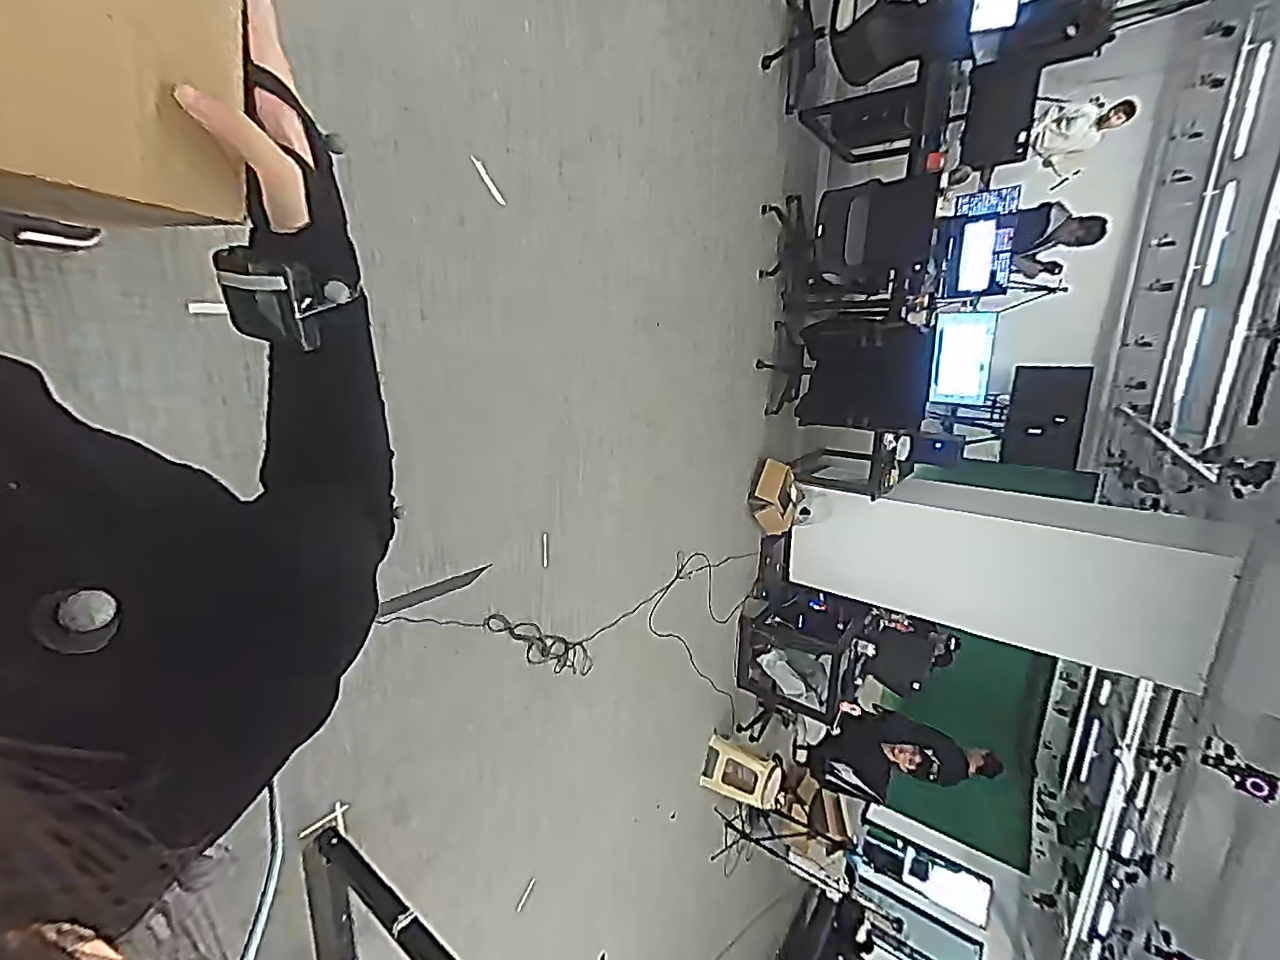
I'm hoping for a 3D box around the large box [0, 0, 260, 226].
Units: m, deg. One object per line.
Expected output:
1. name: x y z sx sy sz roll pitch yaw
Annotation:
1. large box: -0.448 -0.312 0.219 0.408 0.320 0.320 -12 114 -53
